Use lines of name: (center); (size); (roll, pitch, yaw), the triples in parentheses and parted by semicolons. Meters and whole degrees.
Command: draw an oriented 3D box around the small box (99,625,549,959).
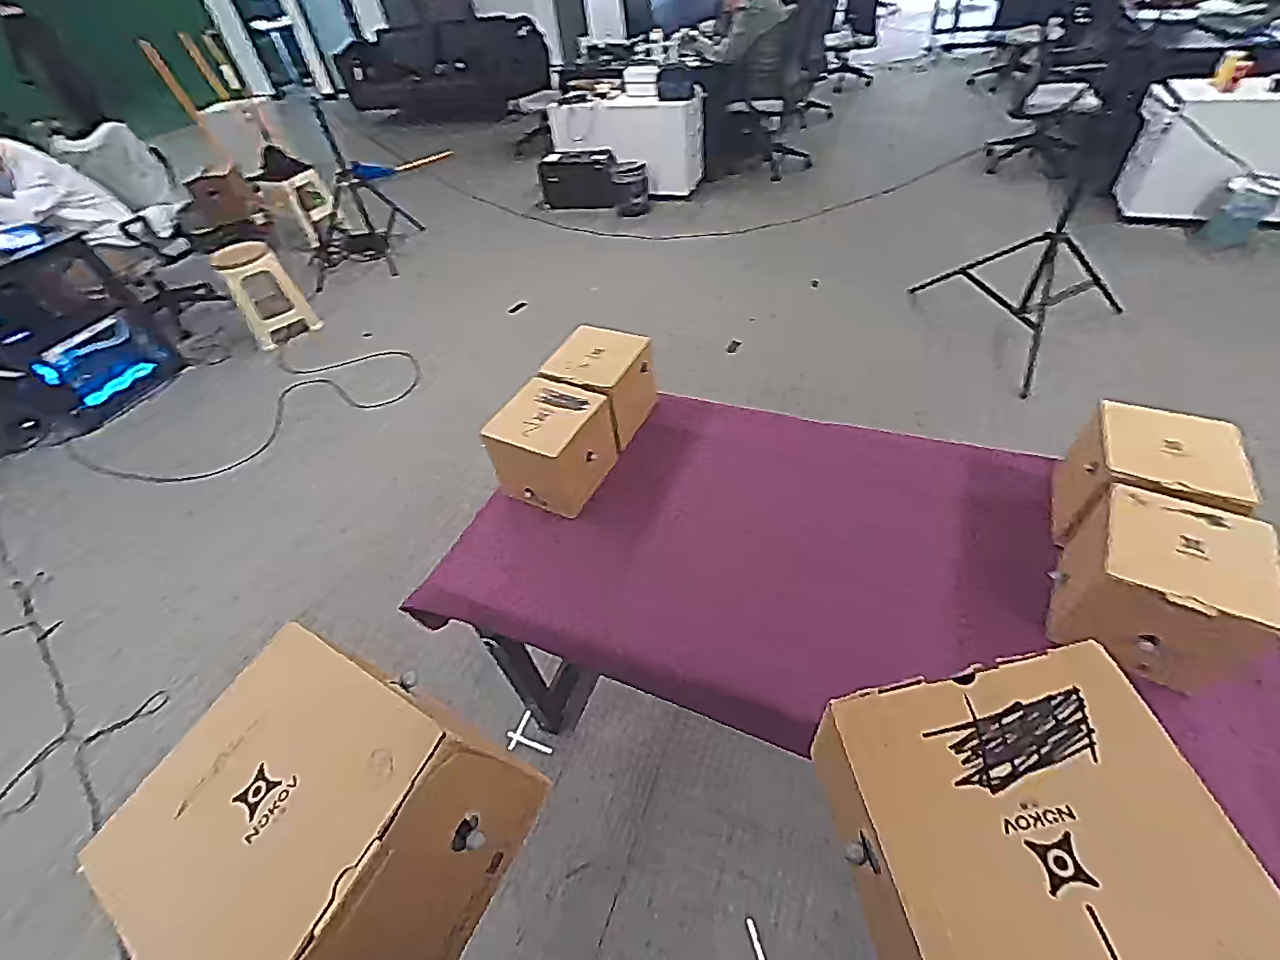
small box: (-0.194, 0.236, 0.379); (0.179, 0.176, 0.168); (16, 58, 29)

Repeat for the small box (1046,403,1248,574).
small box: (0.760, 0.013, 0.839); (0.168, 0.176, 0.179); (17, 50, 21)

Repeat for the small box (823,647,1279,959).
small box: (0.227, 0.232, 0.339); (0.168, 0.176, 0.179); (-14, 53, 3)

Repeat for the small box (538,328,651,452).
small box: (-0.085, -0.189, 1.135); (0.168, 0.176, 0.179); (16, 52, 22)
